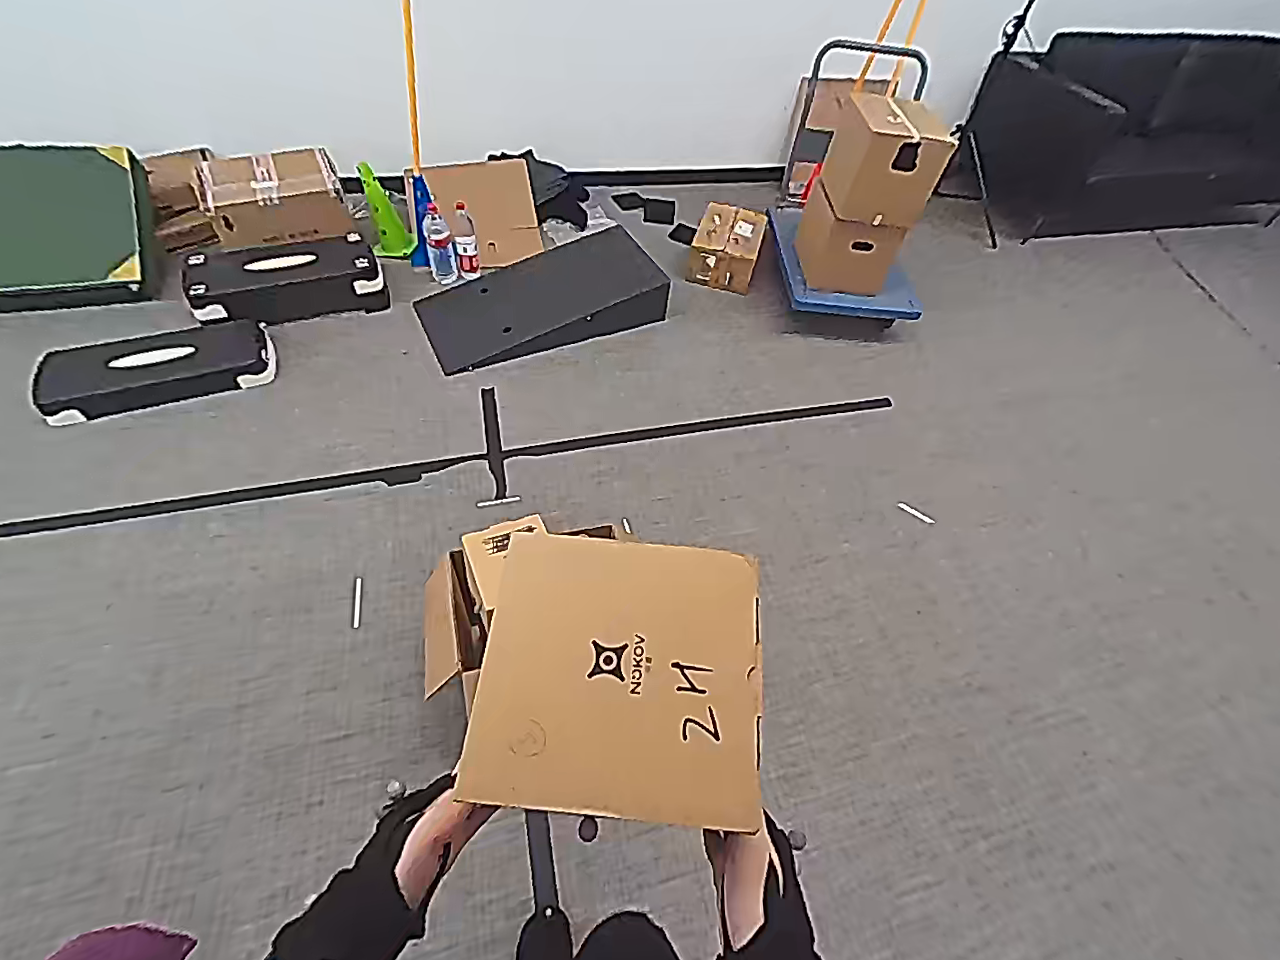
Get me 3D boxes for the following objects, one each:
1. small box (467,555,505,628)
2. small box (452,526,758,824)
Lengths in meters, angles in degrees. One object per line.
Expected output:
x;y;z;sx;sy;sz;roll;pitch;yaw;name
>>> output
-0.286;0.283;1.279;0.179;0.176;0.168;-25;62;-28;small box
-0.014;0.149;0.411;0.179;0.176;0.168;6;62;2;small box
